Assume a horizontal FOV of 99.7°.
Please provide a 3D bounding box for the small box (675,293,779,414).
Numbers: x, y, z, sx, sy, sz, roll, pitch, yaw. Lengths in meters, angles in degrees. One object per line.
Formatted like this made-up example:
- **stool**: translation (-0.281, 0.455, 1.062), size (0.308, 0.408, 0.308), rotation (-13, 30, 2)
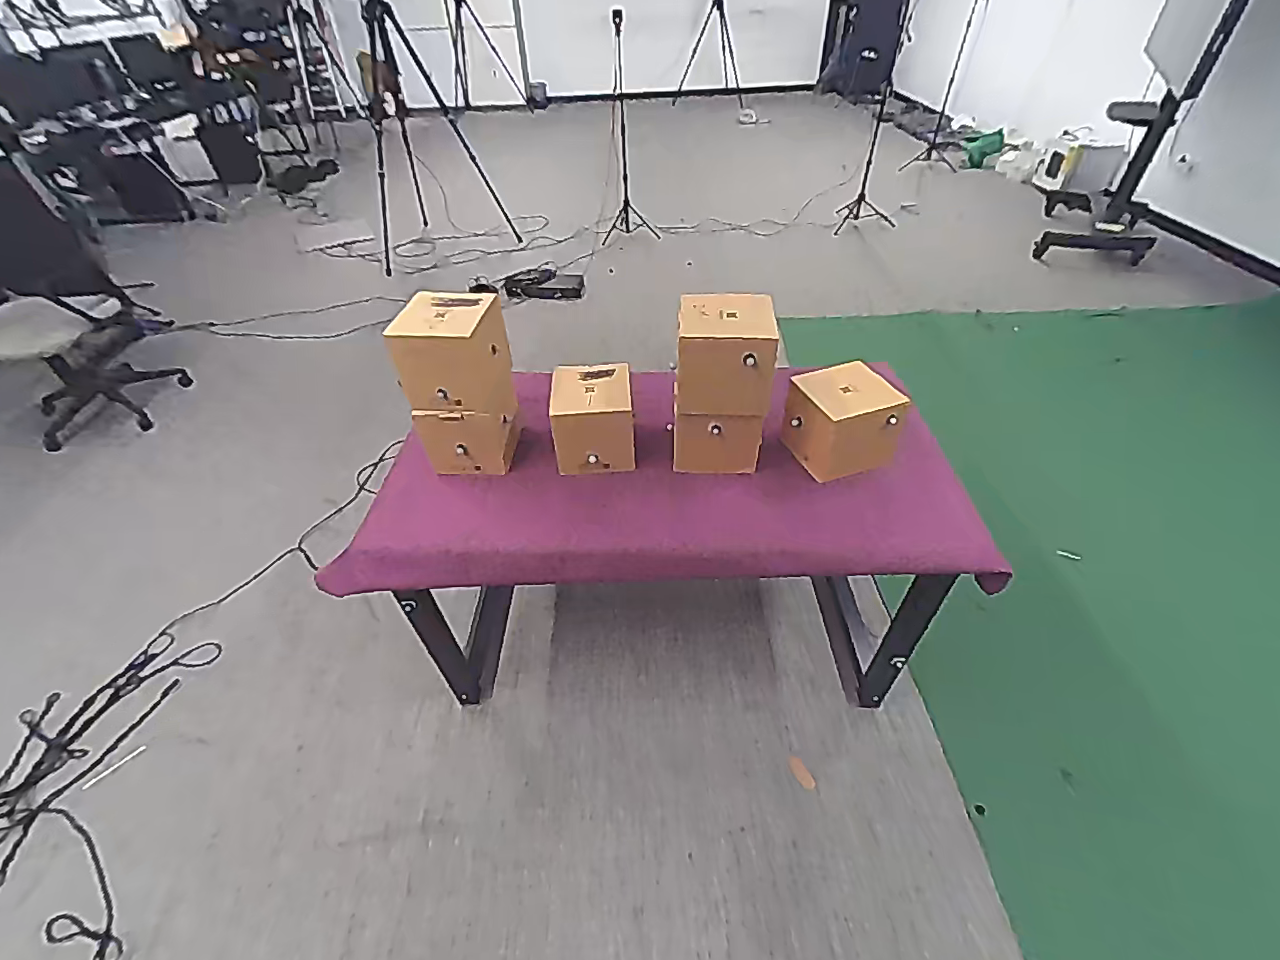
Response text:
- **small box**: translation (0.159, -0.240, 1.035), size (0.179, 0.176, 0.168), rotation (2, 44, 5)

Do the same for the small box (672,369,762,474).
- **small box**: translation (0.158, -0.127, 1.155), size (0.179, 0.176, 0.168), rotation (2, 44, 4)

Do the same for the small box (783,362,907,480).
- **small box**: translation (0.417, -0.121, 1.139), size (0.179, 0.176, 0.168), rotation (-15, 45, -13)

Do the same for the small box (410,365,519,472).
- **small box**: translation (-0.369, -0.132, 1.177), size (0.168, 0.176, 0.179), rotation (1, 44, 2)

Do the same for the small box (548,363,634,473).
- **small box**: translation (-0.101, -0.134, 1.169), size (0.168, 0.176, 0.179), rotation (-4, 44, -1)
